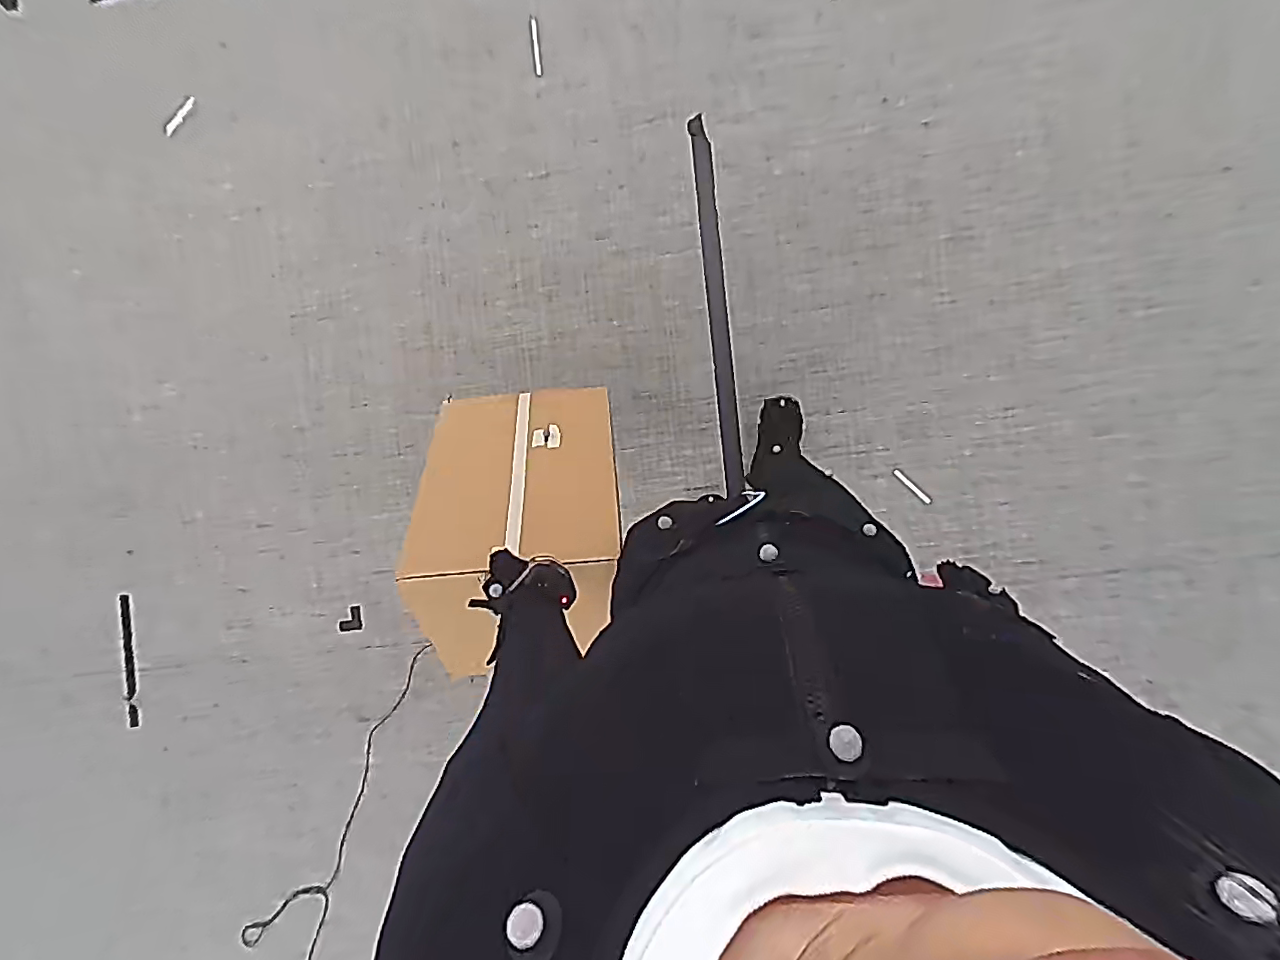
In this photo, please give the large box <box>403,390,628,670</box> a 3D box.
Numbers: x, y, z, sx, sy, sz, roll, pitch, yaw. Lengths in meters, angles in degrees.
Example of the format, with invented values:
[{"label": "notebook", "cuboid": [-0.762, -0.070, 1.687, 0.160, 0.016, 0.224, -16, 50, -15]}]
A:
[{"label": "large box", "cuboid": [-0.196, 0.085, 1.003, 0.320, 0.408, 0.320, -4, 135, -2]}]
